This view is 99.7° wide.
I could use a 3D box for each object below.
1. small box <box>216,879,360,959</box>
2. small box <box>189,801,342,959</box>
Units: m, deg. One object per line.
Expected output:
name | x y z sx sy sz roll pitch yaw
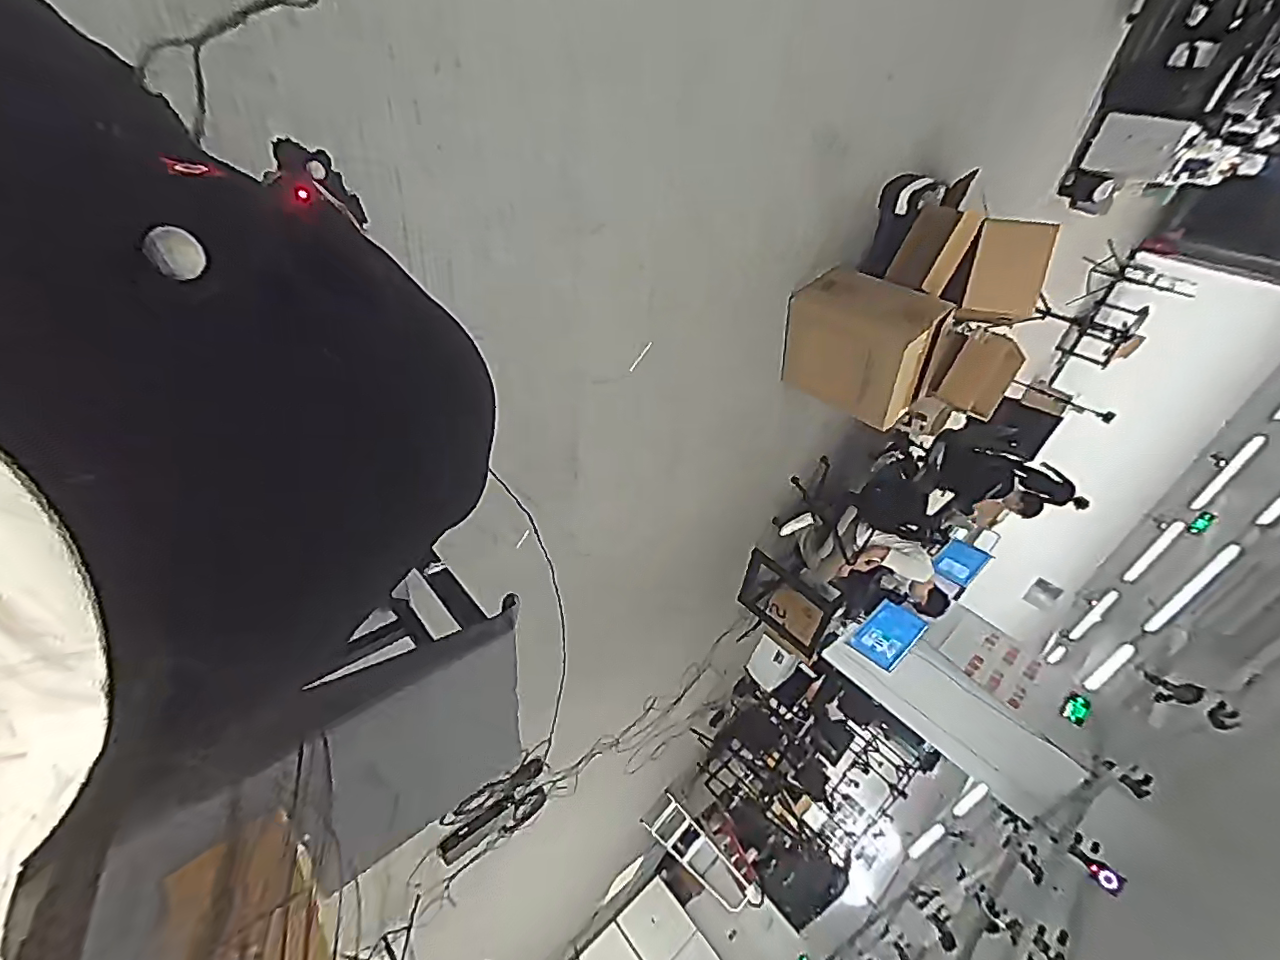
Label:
small box | -0.570 0.818 0.888 0.179 0.176 0.168 -23 138 -36
small box | -0.678 0.736 0.979 0.179 0.176 0.168 -27 140 -36
